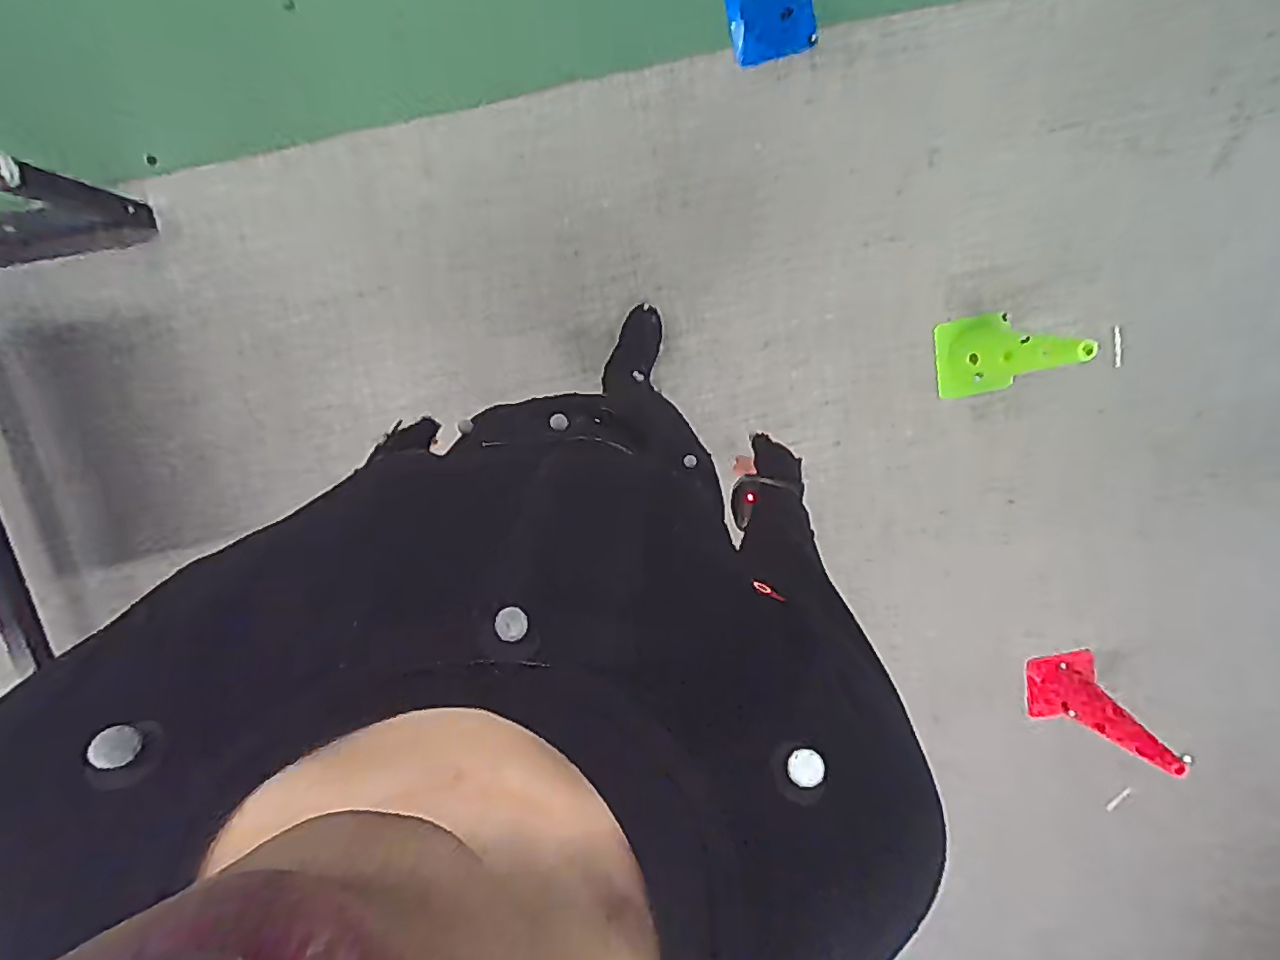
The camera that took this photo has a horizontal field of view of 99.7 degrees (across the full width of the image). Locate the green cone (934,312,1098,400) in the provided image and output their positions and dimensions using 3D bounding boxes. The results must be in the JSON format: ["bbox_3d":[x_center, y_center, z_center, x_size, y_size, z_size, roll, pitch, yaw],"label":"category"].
[{"bbox_3d":[0.877,-0.288,1.244,0.200,0.368,0.202,-12,102,1],"label":"green cone"}]
